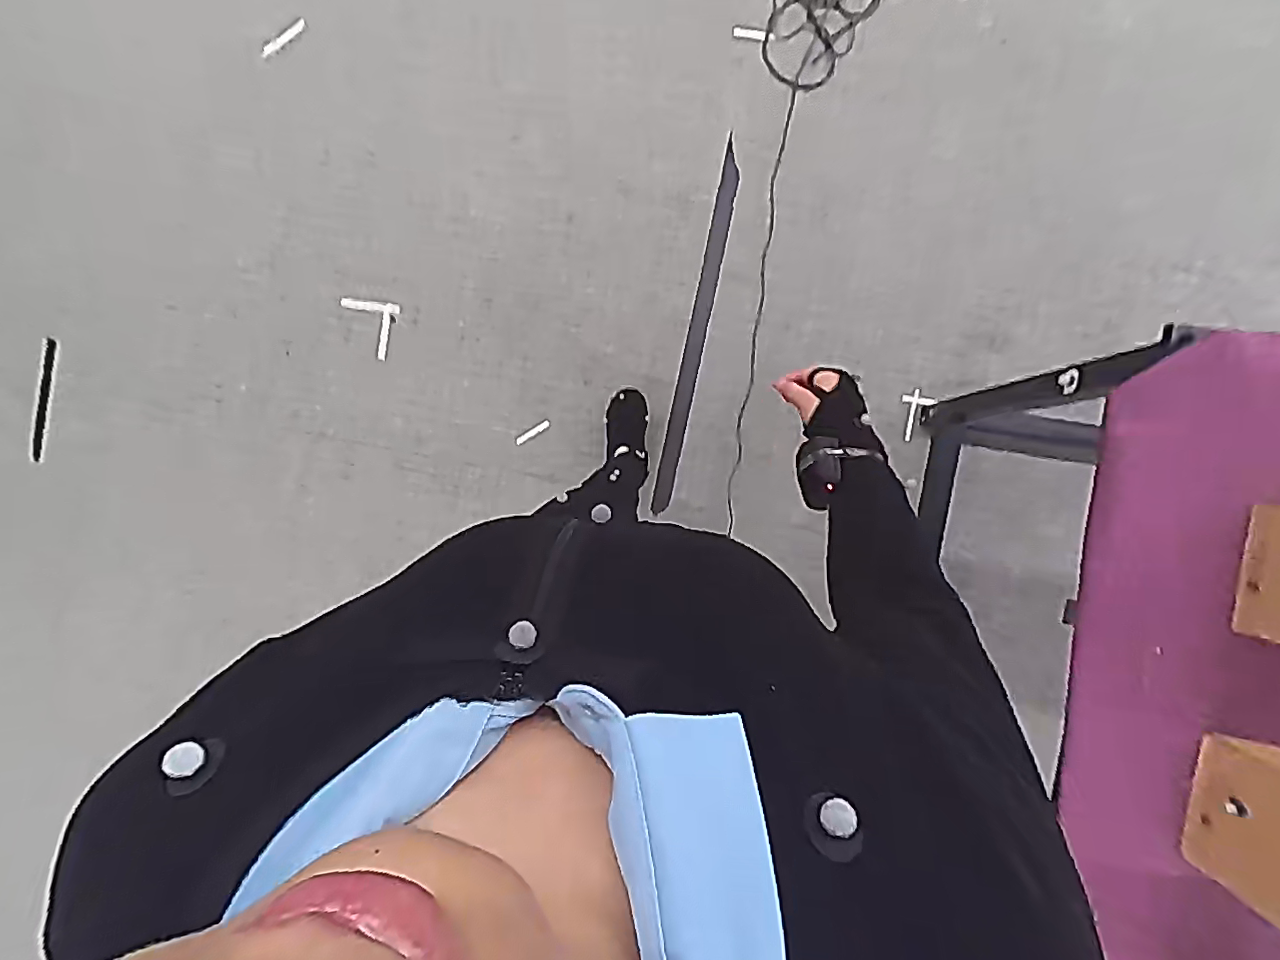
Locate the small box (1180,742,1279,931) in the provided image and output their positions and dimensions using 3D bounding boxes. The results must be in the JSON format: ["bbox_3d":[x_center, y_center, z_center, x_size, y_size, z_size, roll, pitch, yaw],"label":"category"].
[{"bbox_3d":[0.805,0.432,0.625,0.179,0.176,0.168,10,91,4],"label":"small box"}]
